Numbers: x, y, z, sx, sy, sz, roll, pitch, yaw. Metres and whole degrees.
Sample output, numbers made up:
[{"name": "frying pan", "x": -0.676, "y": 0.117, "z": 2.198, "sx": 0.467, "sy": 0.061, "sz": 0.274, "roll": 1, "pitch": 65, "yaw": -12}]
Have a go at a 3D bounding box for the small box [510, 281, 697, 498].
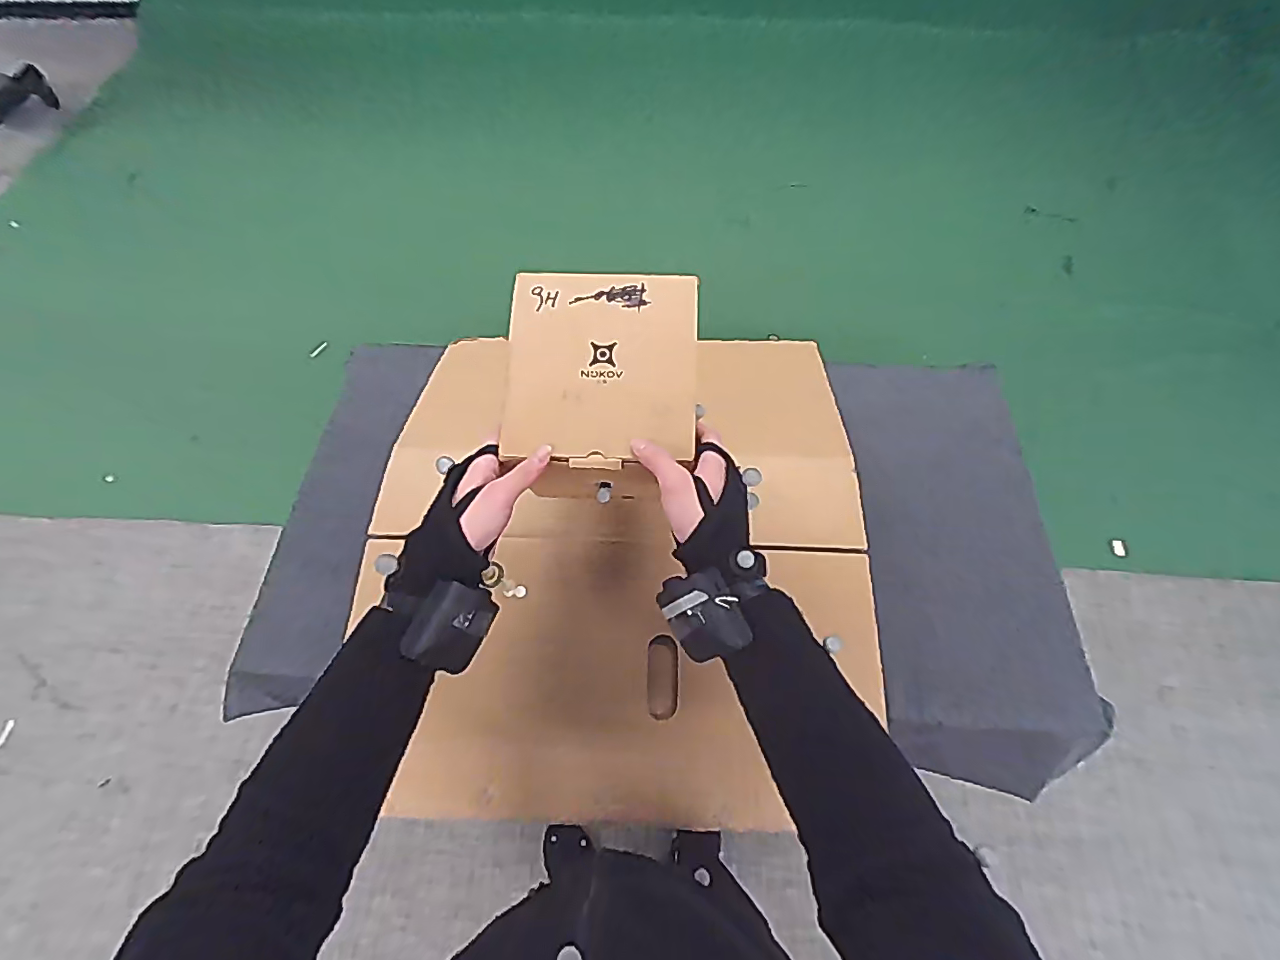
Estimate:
[{"name": "small box", "x": -0.026, "y": -0.079, "z": 0.557, "sx": 0.168, "sy": 0.176, "sz": 0.179, "roll": 0, "pitch": 76, "yaw": 2}]
